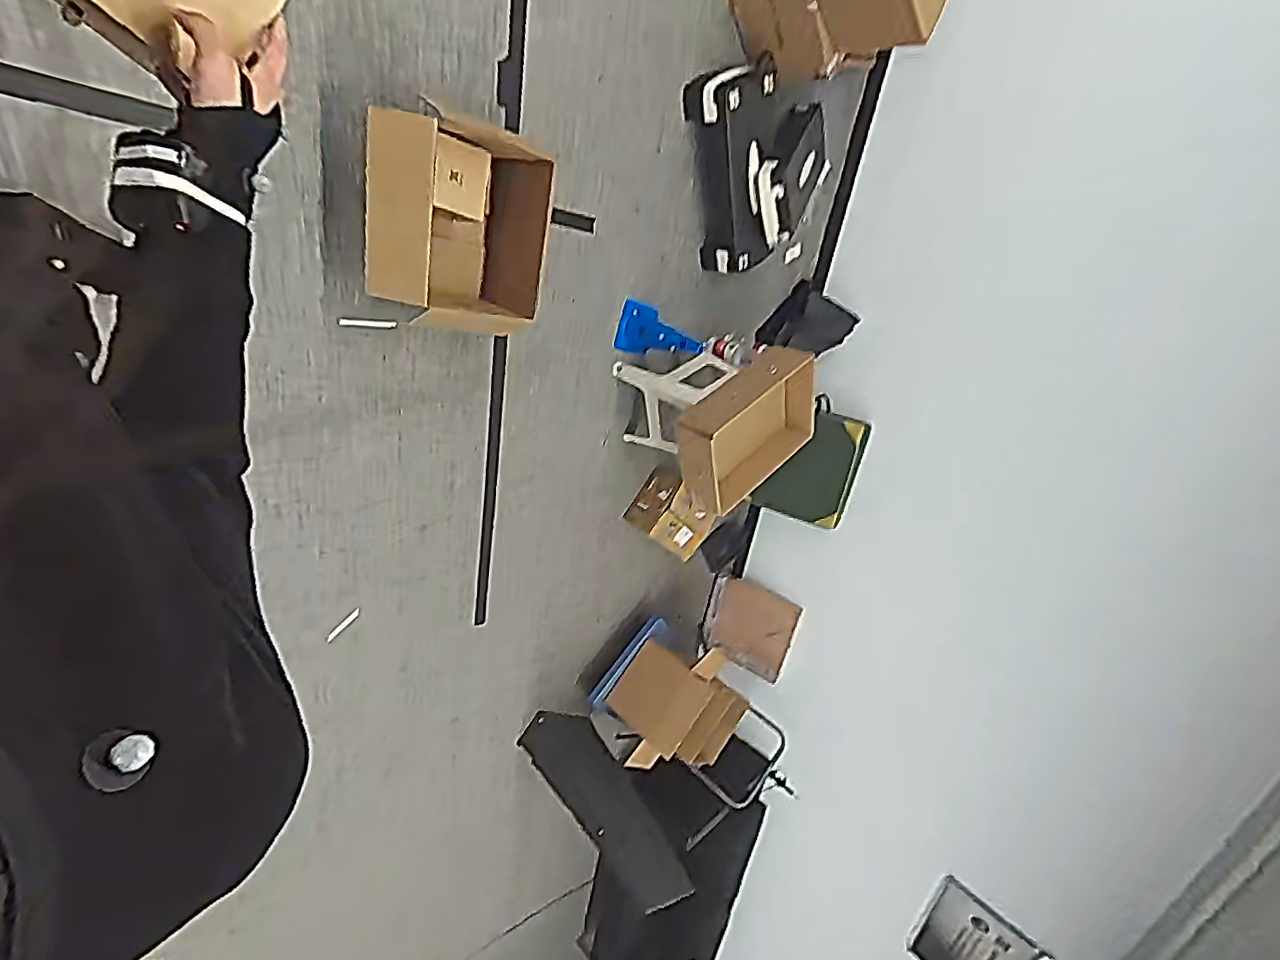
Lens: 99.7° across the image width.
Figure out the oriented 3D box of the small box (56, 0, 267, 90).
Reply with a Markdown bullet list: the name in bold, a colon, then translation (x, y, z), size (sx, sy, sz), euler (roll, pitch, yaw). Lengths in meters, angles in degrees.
- **small box**: translation (-0.428, -0.470, 0.452), size (0.179, 0.176, 0.168), euler (-59, 146, 0)
